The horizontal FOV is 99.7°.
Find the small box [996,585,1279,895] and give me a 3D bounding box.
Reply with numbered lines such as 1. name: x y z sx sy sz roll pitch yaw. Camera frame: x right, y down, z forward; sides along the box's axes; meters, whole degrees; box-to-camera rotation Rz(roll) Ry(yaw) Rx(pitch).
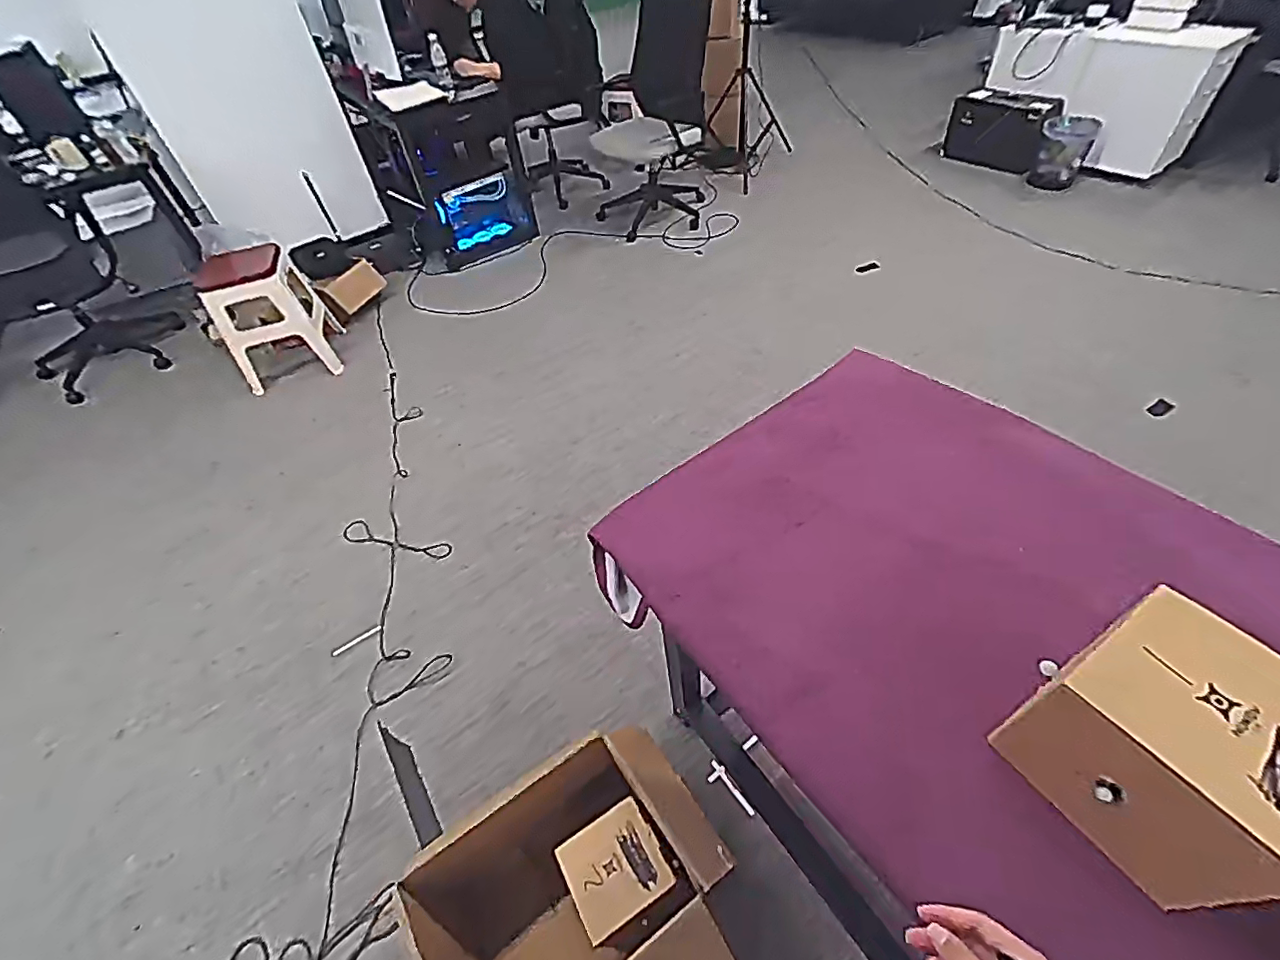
1. small box: 0.478 0.236 0.491 0.168 0.176 0.179 -29 50 -17
